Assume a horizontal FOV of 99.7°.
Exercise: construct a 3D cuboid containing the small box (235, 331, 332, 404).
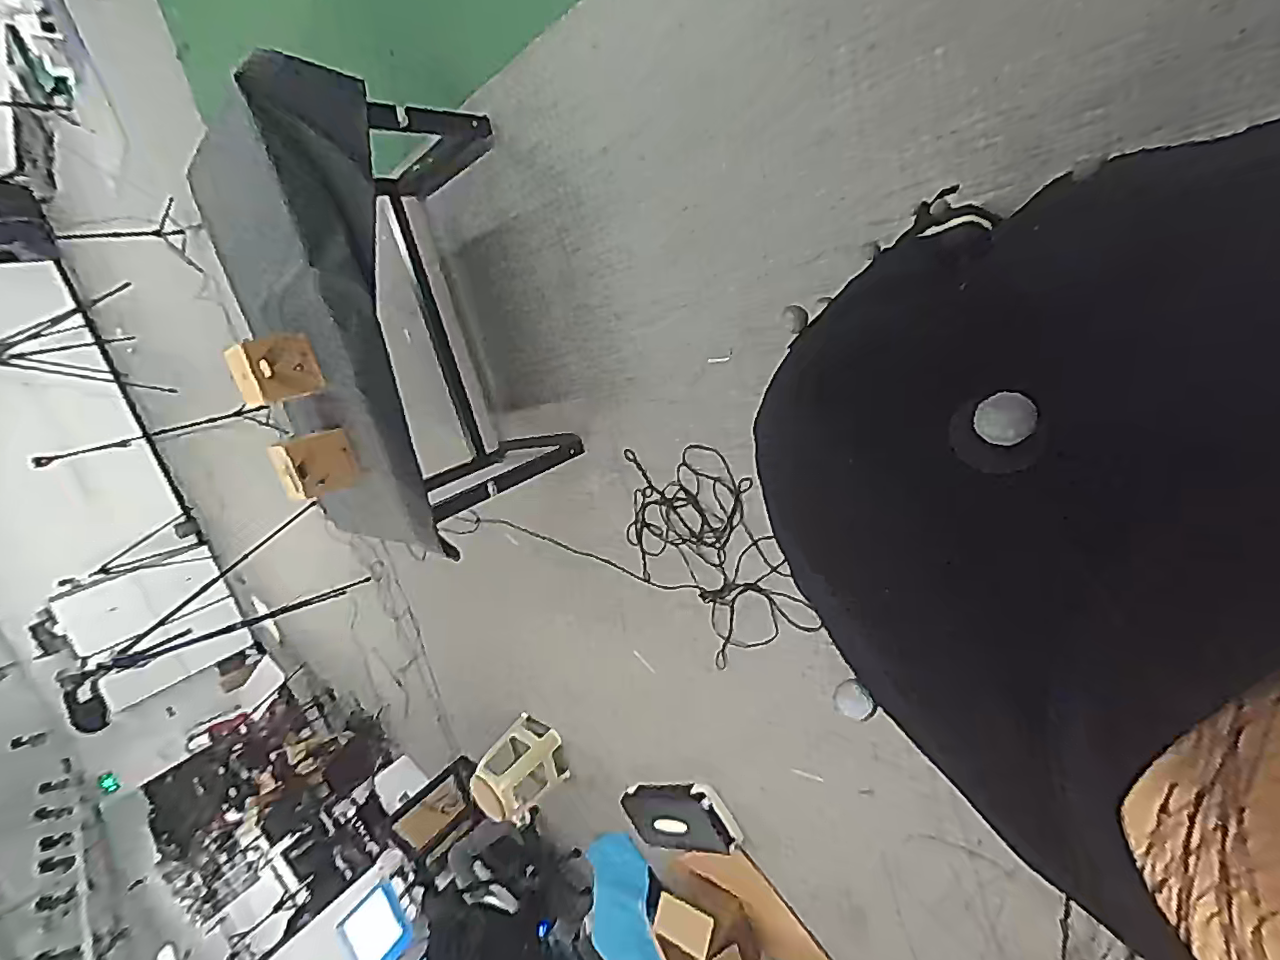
[{"bbox_3d":[-1.031,-0.327,1.572,0.179,0.176,0.168,-1,110,42],"label":"small box"}]
